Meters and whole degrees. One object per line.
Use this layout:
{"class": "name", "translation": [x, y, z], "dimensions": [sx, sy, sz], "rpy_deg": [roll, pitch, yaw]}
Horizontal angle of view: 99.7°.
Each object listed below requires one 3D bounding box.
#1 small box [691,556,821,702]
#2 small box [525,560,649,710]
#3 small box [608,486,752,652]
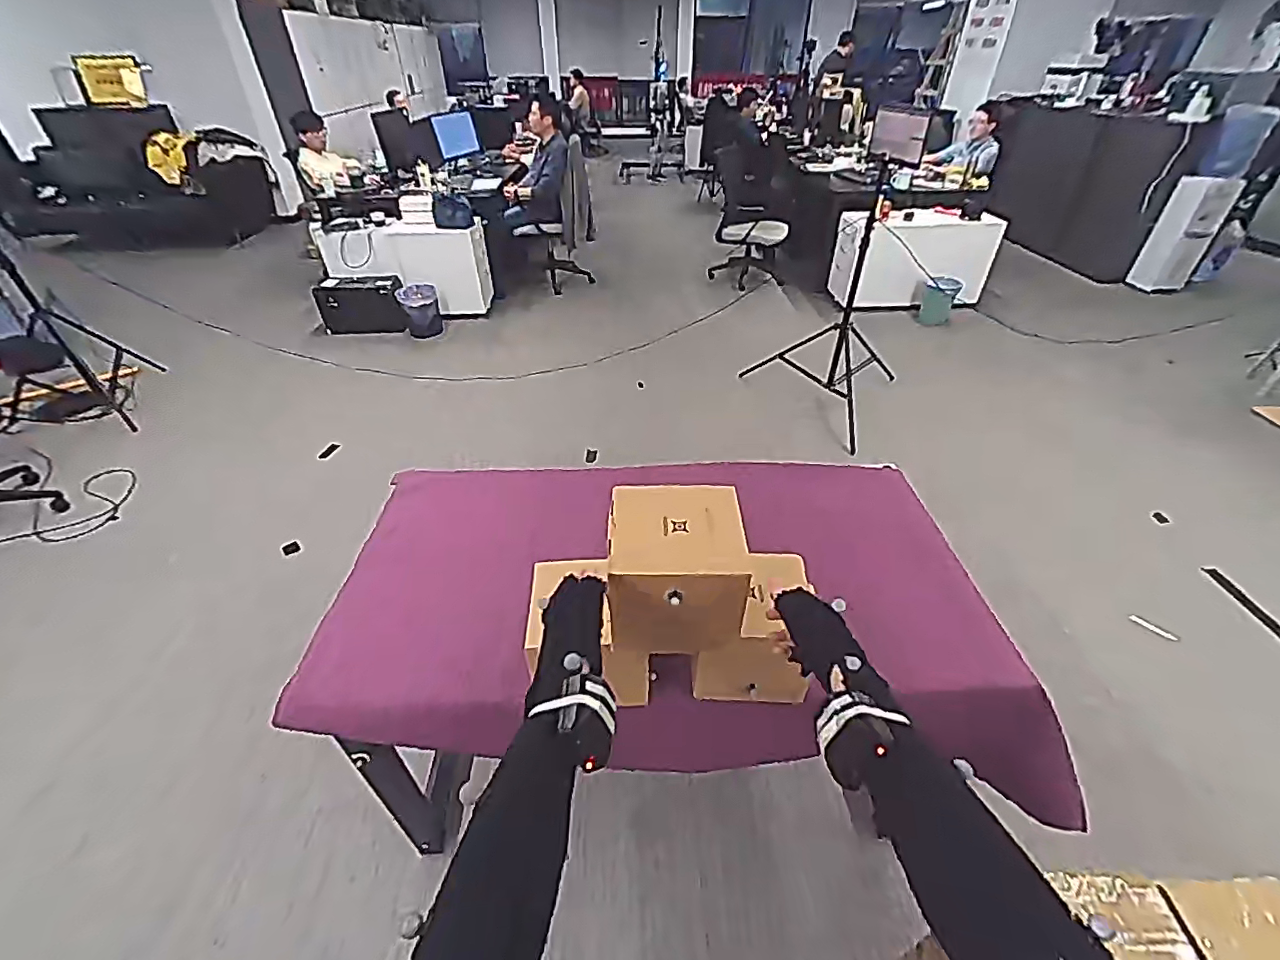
{"class": "small box", "translation": [0.174, 0.240, 0.874], "dimensions": [0.179, 0.176, 0.168], "rpy_deg": [1, 37, 3]}
{"class": "small box", "translation": [-0.076, 0.247, 0.865], "dimensions": [0.179, 0.176, 0.168], "rpy_deg": [-3, 37, -1]}
{"class": "small box", "translation": [0.048, 0.125, 0.758], "dimensions": [0.179, 0.176, 0.168], "rpy_deg": [0, 39, -1]}
